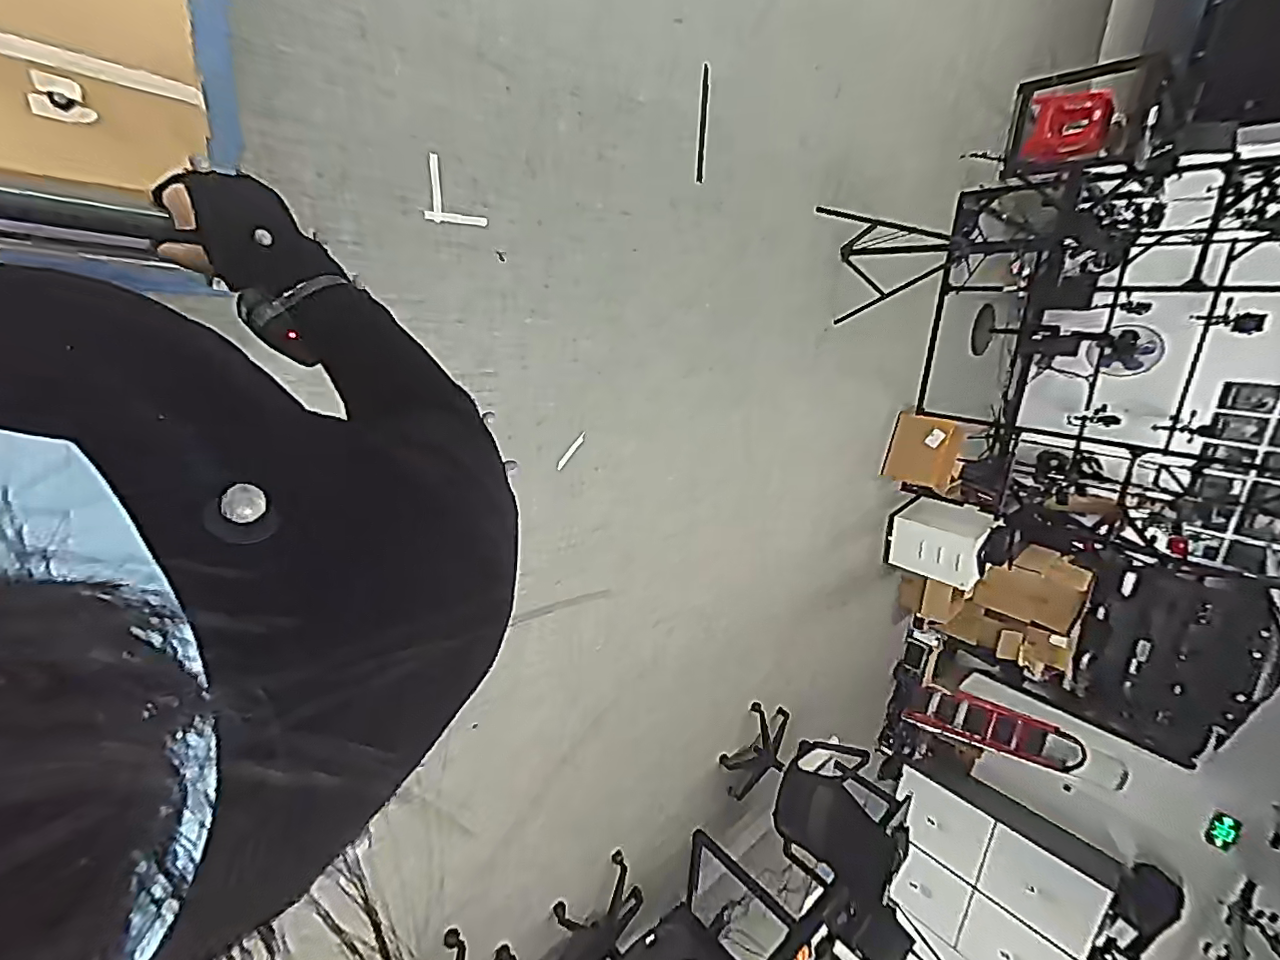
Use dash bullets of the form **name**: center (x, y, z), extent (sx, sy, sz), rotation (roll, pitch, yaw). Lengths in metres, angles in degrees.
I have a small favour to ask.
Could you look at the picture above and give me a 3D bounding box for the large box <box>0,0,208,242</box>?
- **large box**: center (-0.848, -0.510, 0.693), extent (0.408, 0.320, 0.320), rotation (-10, 111, -43)
